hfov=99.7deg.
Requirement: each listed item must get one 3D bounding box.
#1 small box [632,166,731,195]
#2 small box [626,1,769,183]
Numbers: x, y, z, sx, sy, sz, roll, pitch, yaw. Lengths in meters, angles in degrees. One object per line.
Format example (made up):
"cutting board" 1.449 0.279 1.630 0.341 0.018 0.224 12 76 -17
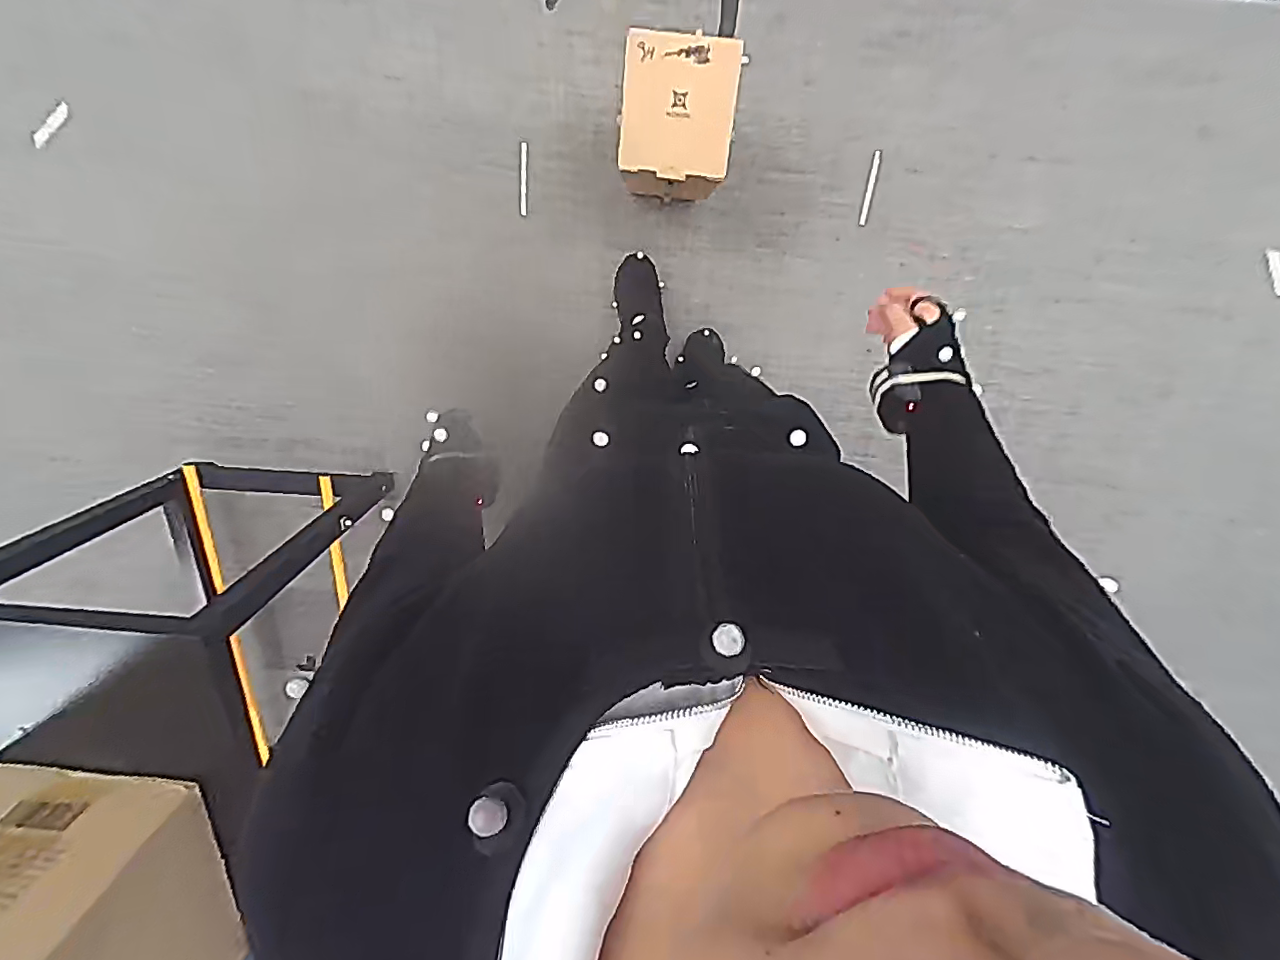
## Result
"small box" 0.077 -0.602 0.925 0.168 0.176 0.179 5 113 0
"small box" 0.074 -0.536 0.775 0.168 0.176 0.179 6 113 -1
